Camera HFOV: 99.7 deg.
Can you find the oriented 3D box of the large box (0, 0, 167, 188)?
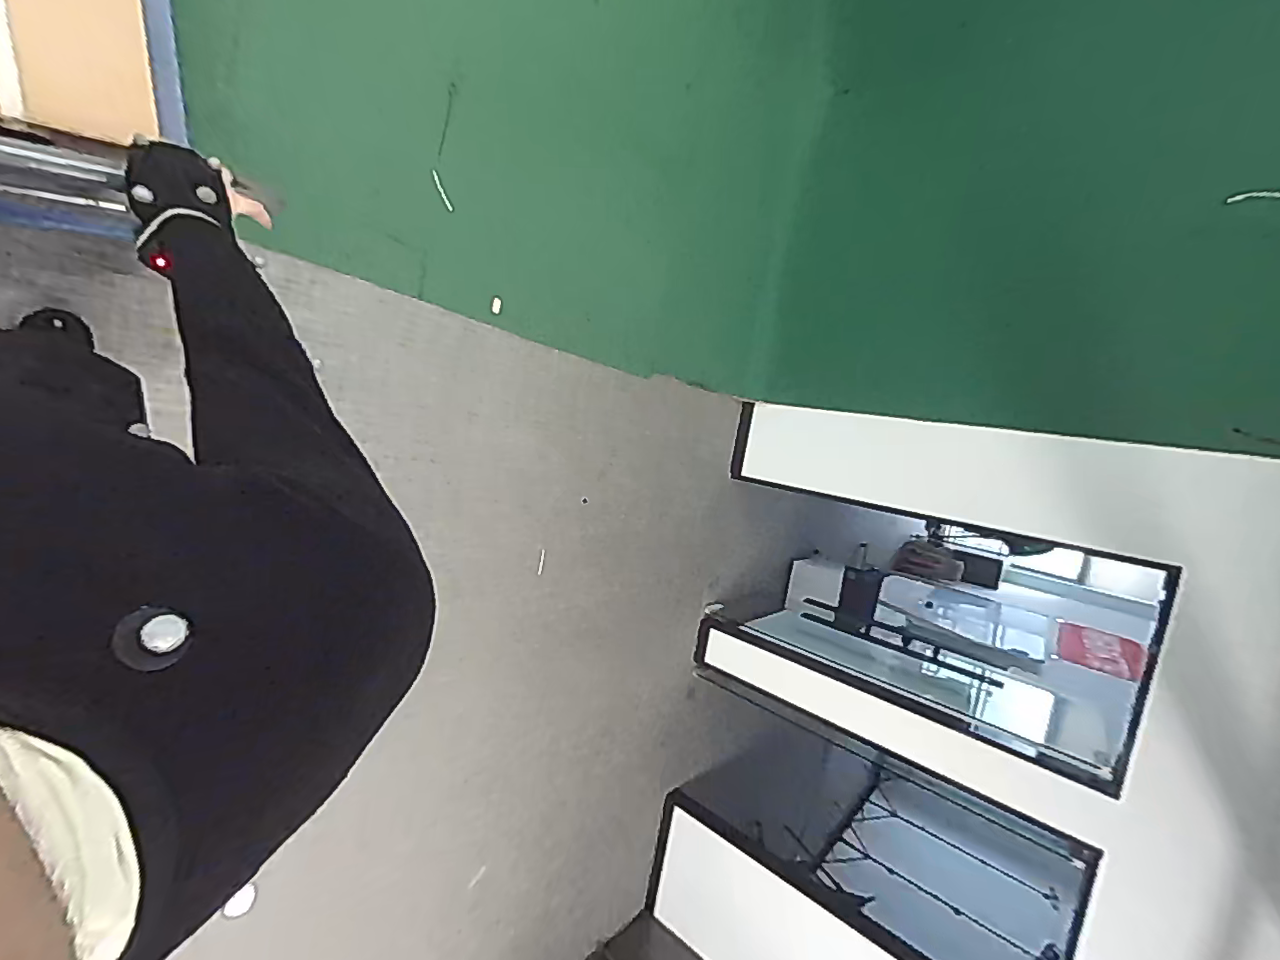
[{"bbox_3d":[-0.941,-0.693,0.776,0.320,0.320,0.408,-13,110,-48],"label":"large box"}]
